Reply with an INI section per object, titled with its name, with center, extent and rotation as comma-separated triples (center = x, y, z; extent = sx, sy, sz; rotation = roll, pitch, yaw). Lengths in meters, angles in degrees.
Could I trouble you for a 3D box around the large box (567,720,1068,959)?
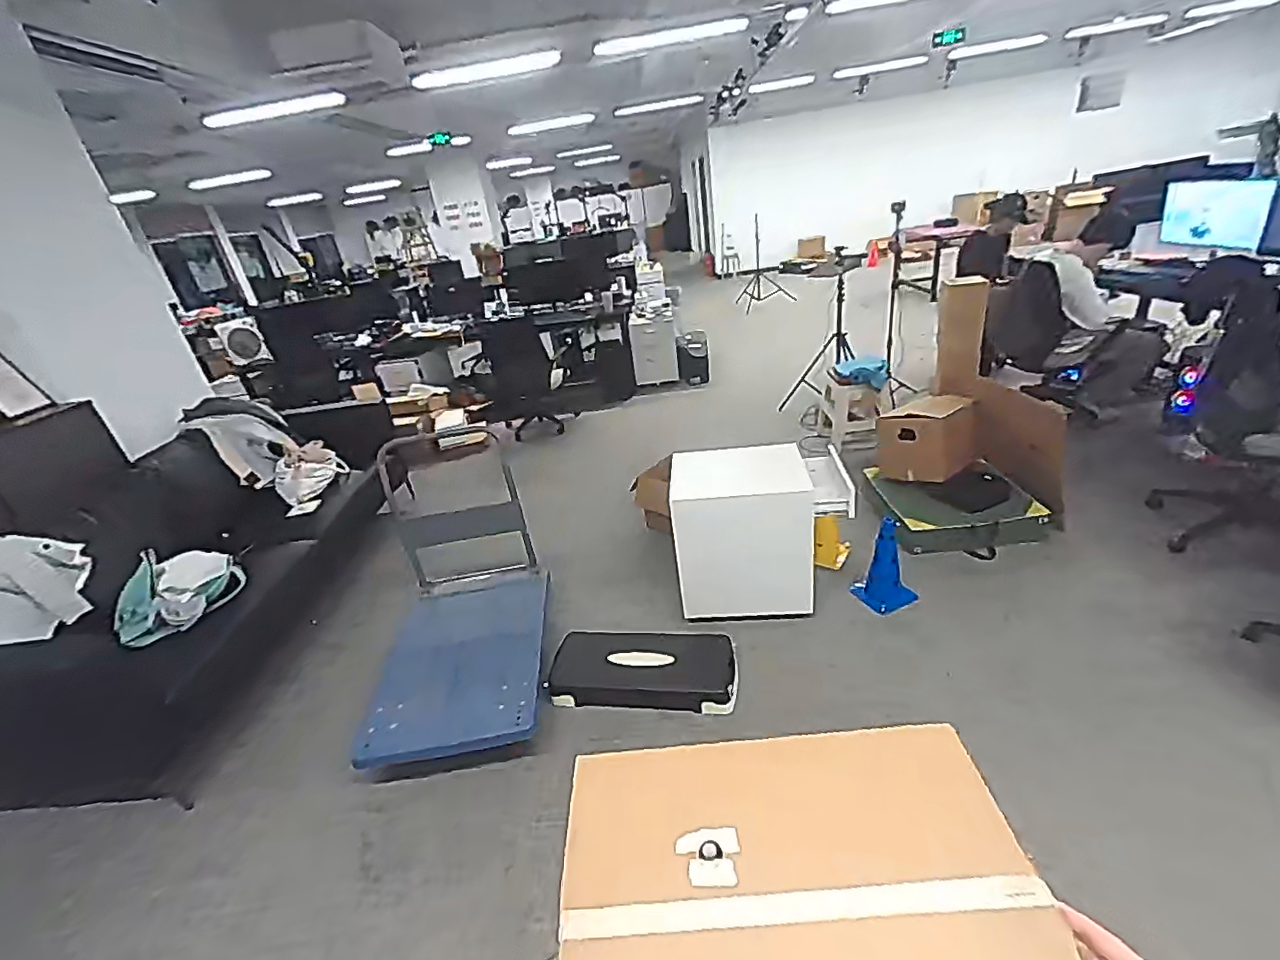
[large box]
center = 0.158, 0.493, 0.546
extent = 0.408, 0.320, 0.320
rotation = -9, 32, 5
